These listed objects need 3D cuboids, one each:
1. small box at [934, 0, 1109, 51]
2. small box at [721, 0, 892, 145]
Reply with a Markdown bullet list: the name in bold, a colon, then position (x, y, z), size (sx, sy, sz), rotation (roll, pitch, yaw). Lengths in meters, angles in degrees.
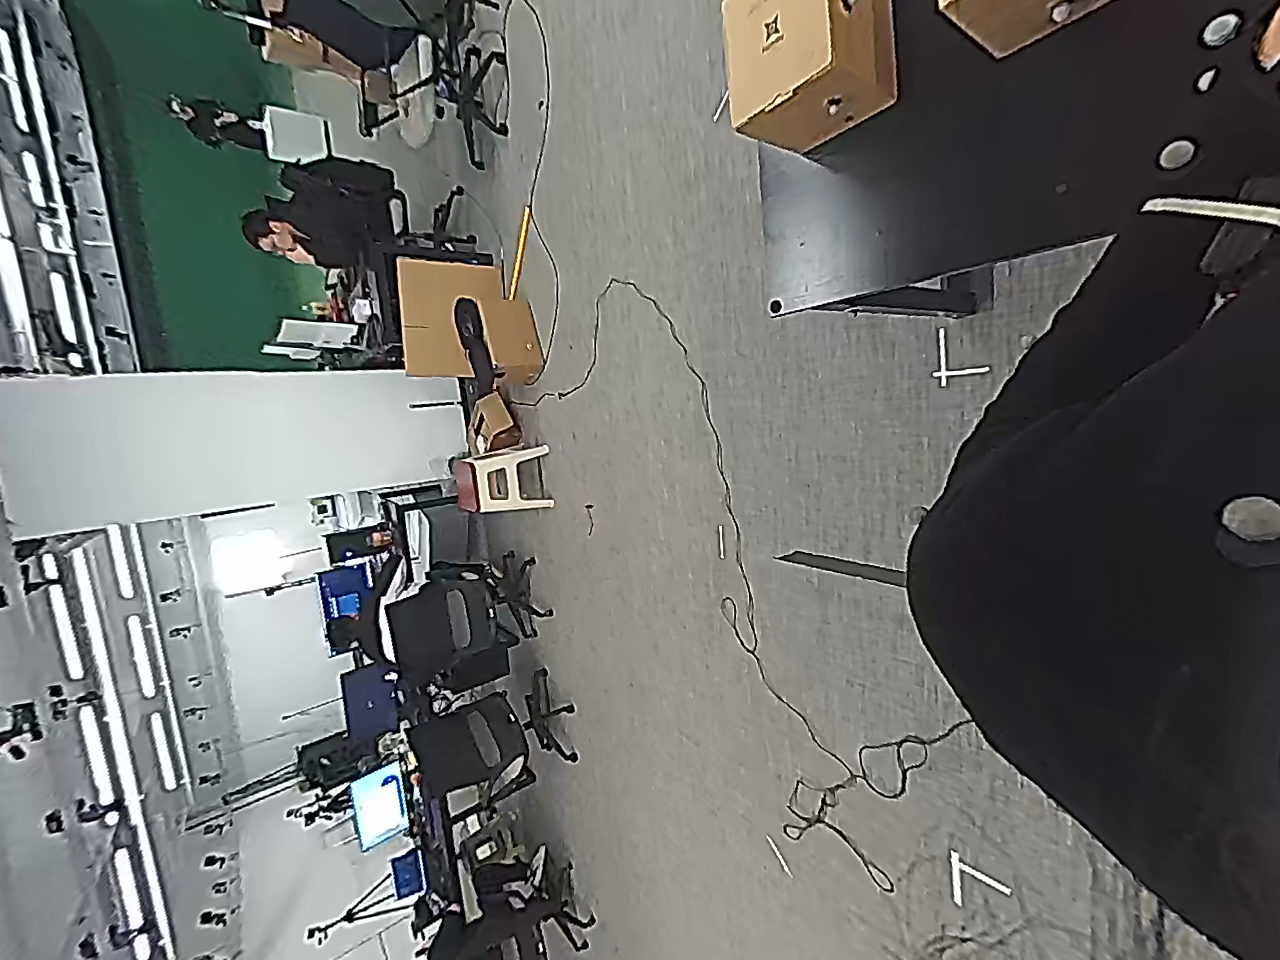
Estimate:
- **small box**: position (0.412, -0.586, 0.539), size (0.168, 0.176, 0.179), rotation (3, 102, 53)
- **small box**: position (0.237, -0.607, 0.766), size (0.168, 0.176, 0.179), rotation (1, 98, 51)
